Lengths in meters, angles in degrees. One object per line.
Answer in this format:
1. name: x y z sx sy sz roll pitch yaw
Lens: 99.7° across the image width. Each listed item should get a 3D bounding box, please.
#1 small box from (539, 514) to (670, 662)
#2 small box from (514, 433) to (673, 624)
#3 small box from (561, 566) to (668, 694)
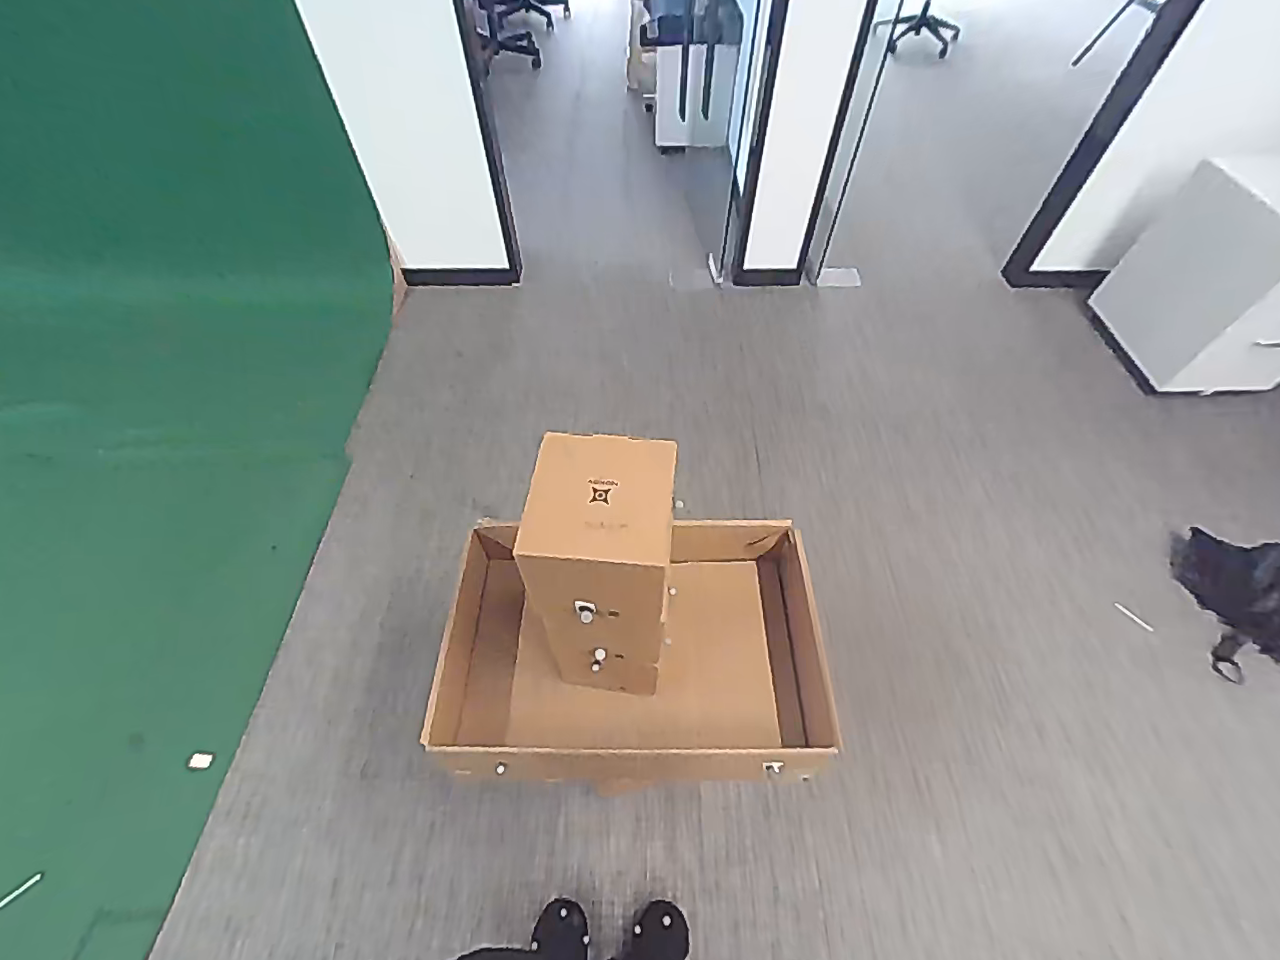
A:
1. small box: -0.048 0.156 0.819 0.168 0.176 0.179 5 54 2
2. small box: -0.049 0.064 0.687 0.168 0.176 0.179 4 55 3
3. small box: -0.045 0.254 0.950 0.168 0.176 0.179 6 53 4
